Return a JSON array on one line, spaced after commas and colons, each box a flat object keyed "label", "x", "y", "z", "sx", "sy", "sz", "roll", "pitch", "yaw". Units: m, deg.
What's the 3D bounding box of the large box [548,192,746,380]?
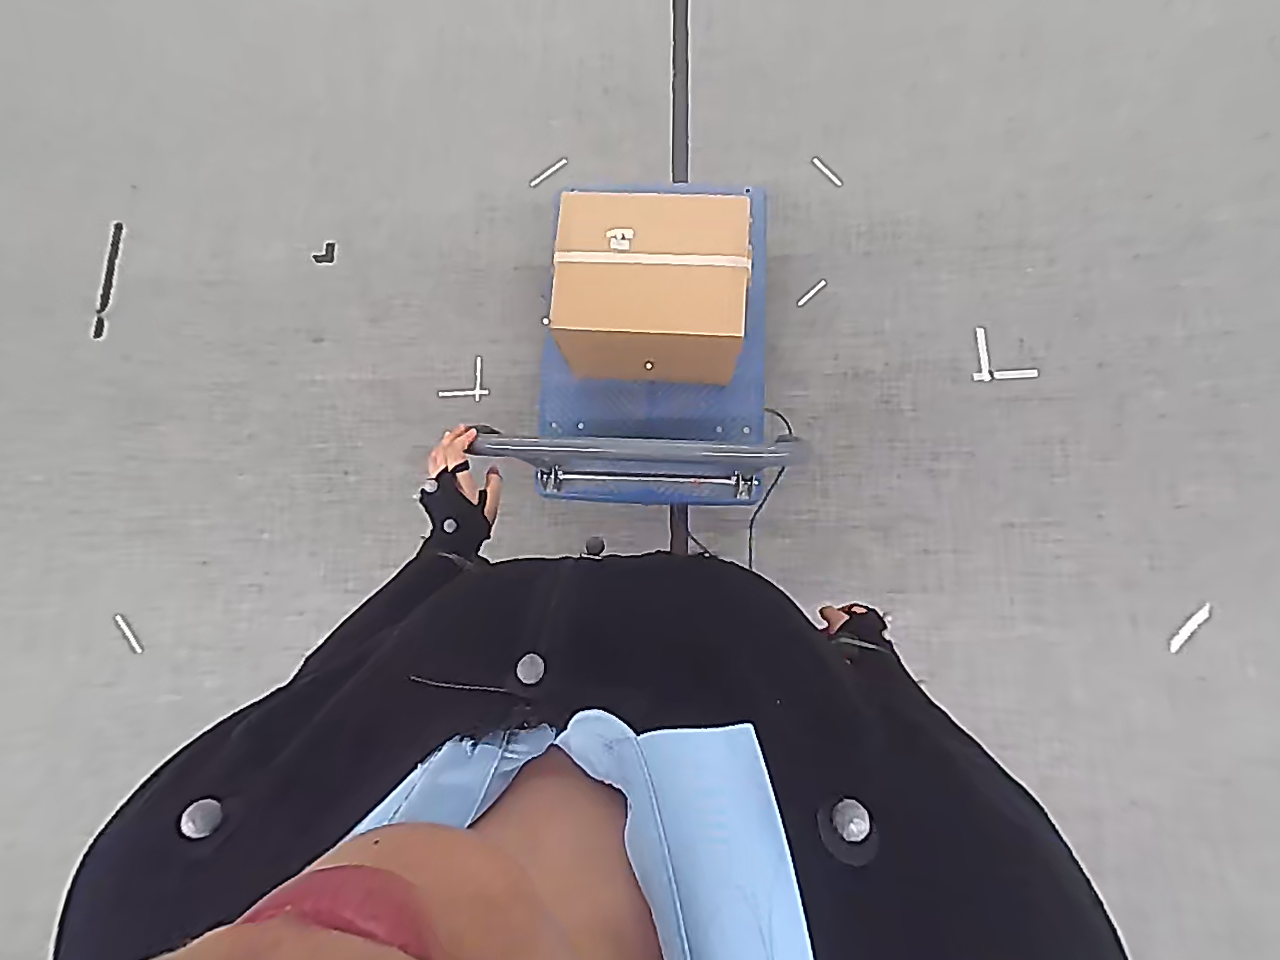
[{"label": "large box", "x": 0.030, "y": -0.430, "z": 1.259, "sx": 0.408, "sy": 0.320, "sz": 0.320, "roll": 3, "pitch": 81, "yaw": 5}]
